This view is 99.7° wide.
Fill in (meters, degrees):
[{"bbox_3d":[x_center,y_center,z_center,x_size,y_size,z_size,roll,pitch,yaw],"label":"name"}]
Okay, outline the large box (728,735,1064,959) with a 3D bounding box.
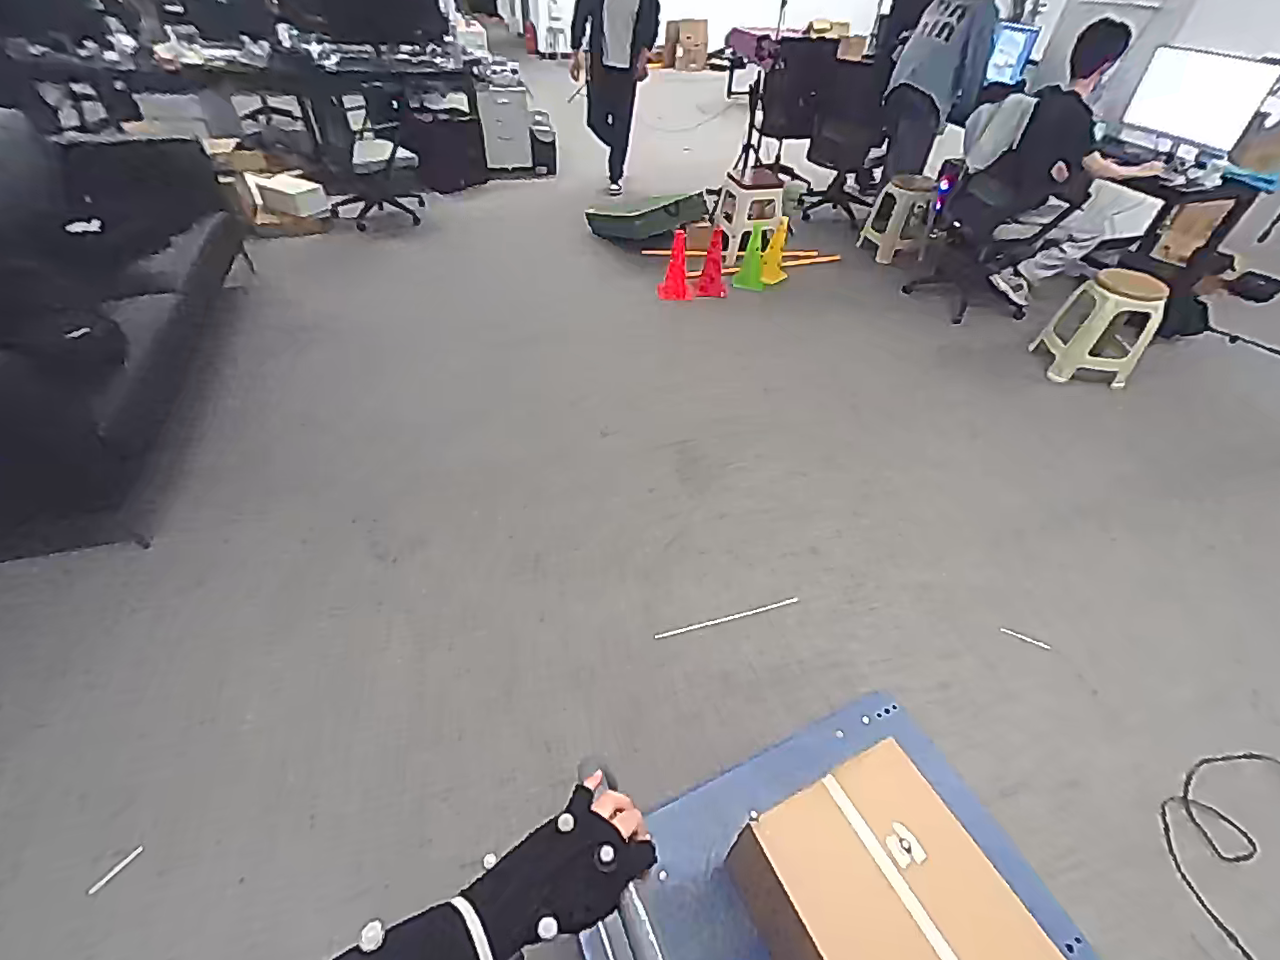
[{"bbox_3d":[0.396,0.739,0.913,0.320,0.320,0.408,-18,47,-19],"label":"large box"}]
